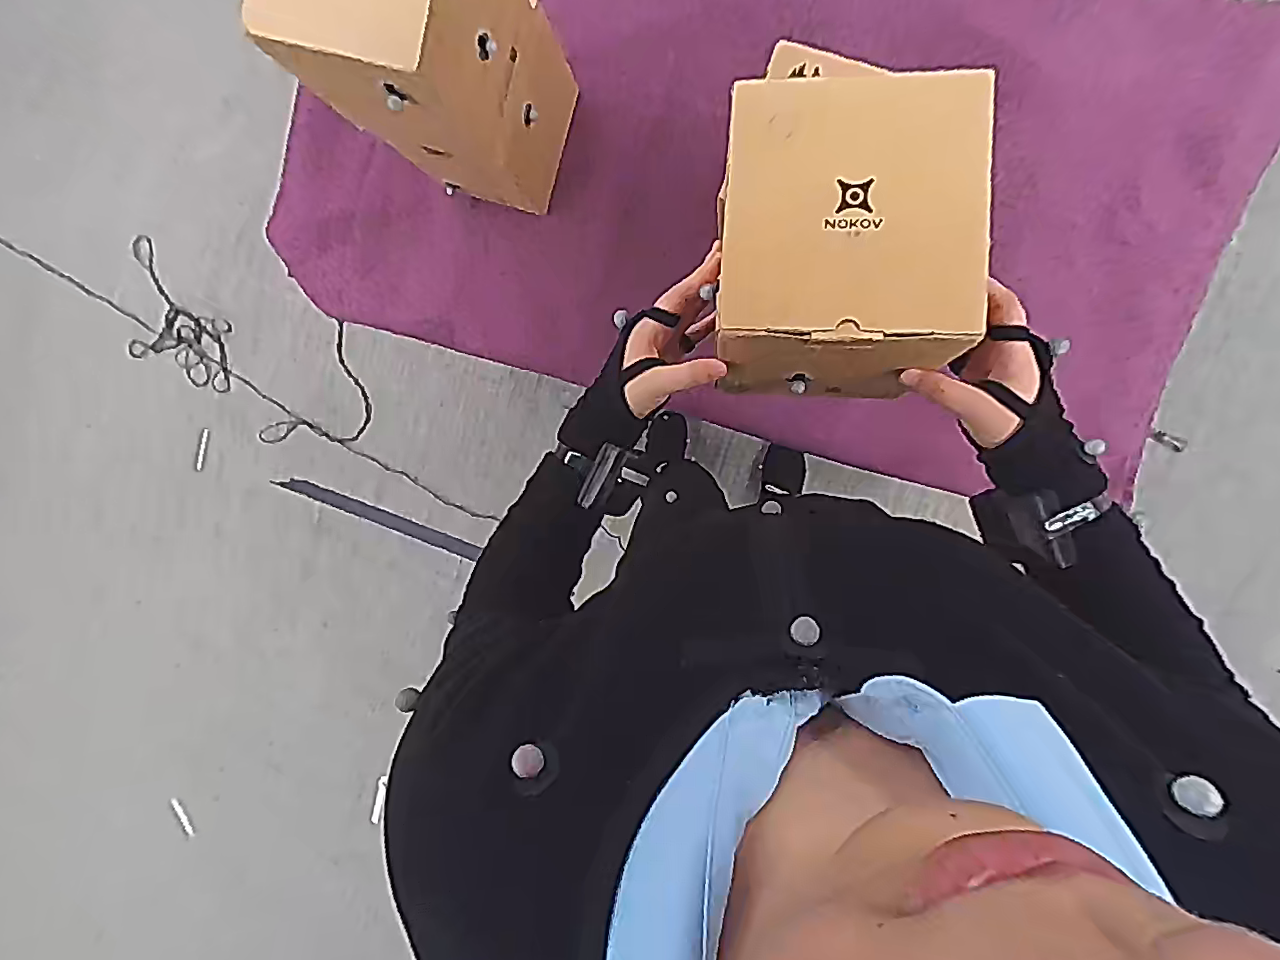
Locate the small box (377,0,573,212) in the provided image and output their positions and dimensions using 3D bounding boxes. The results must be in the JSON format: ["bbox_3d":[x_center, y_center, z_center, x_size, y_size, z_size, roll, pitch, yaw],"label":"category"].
[{"bbox_3d":[-0.198,-0.471,0.686,0.168,0.176,0.179,18,98,7],"label":"small box"}]

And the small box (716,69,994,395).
[{"bbox_3d":[0.148,-0.175,0.427,0.168,0.176,0.179,3,87,8],"label":"small box"}]

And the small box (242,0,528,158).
[{"bbox_3d":[-0.230,-0.446,0.526,0.179,0.176,0.168,18,98,7],"label":"small box"}]
